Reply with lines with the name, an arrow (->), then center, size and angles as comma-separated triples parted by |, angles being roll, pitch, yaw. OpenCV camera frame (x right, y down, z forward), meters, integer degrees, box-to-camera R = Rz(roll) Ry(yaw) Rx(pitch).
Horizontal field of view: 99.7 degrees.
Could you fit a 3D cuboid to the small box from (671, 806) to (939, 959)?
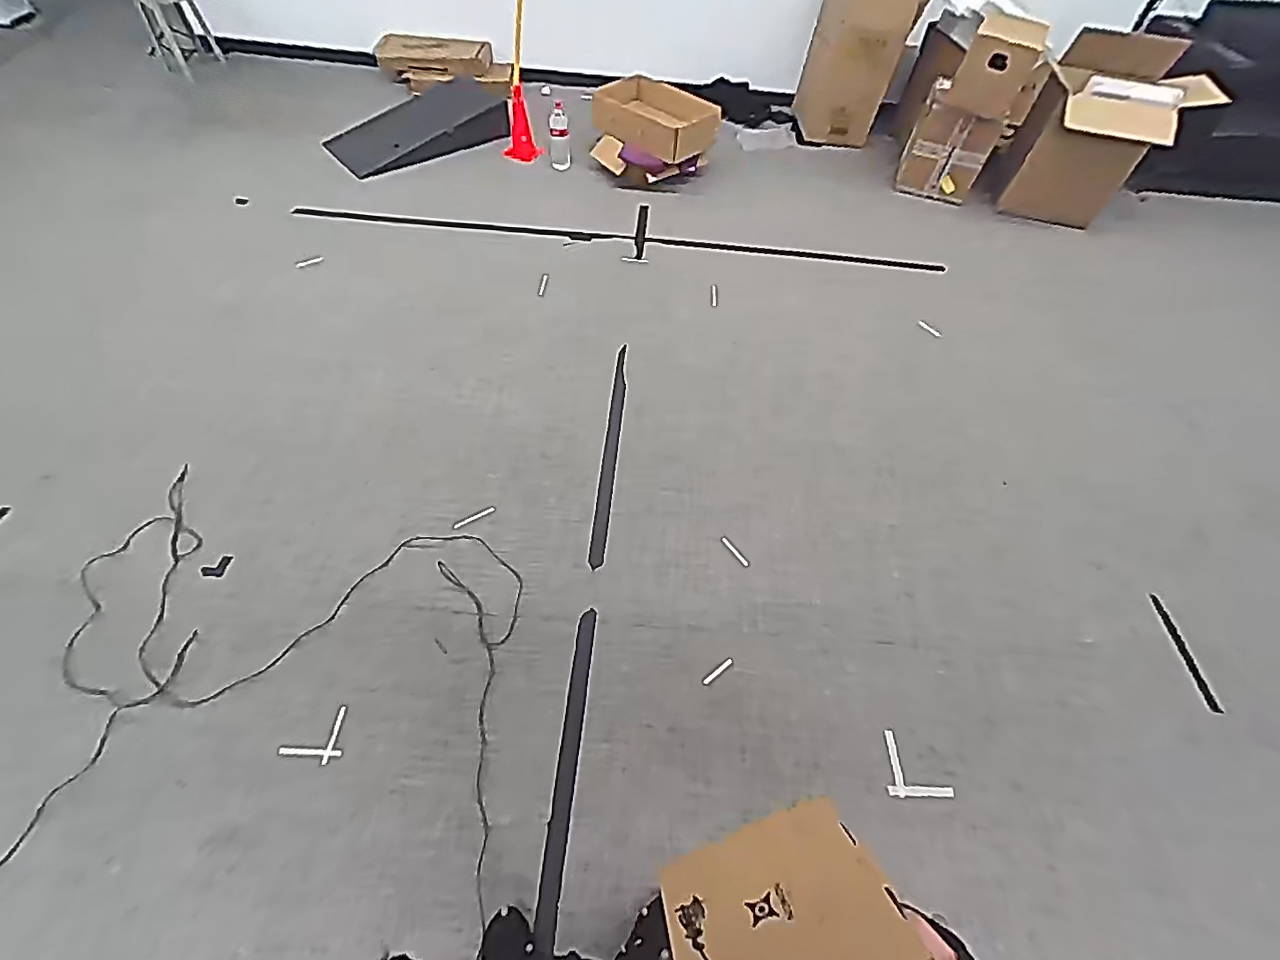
small box -> 0.143, 0.428, 0.451 | 0.179, 0.168, 0.176 | -20, 94, -5
